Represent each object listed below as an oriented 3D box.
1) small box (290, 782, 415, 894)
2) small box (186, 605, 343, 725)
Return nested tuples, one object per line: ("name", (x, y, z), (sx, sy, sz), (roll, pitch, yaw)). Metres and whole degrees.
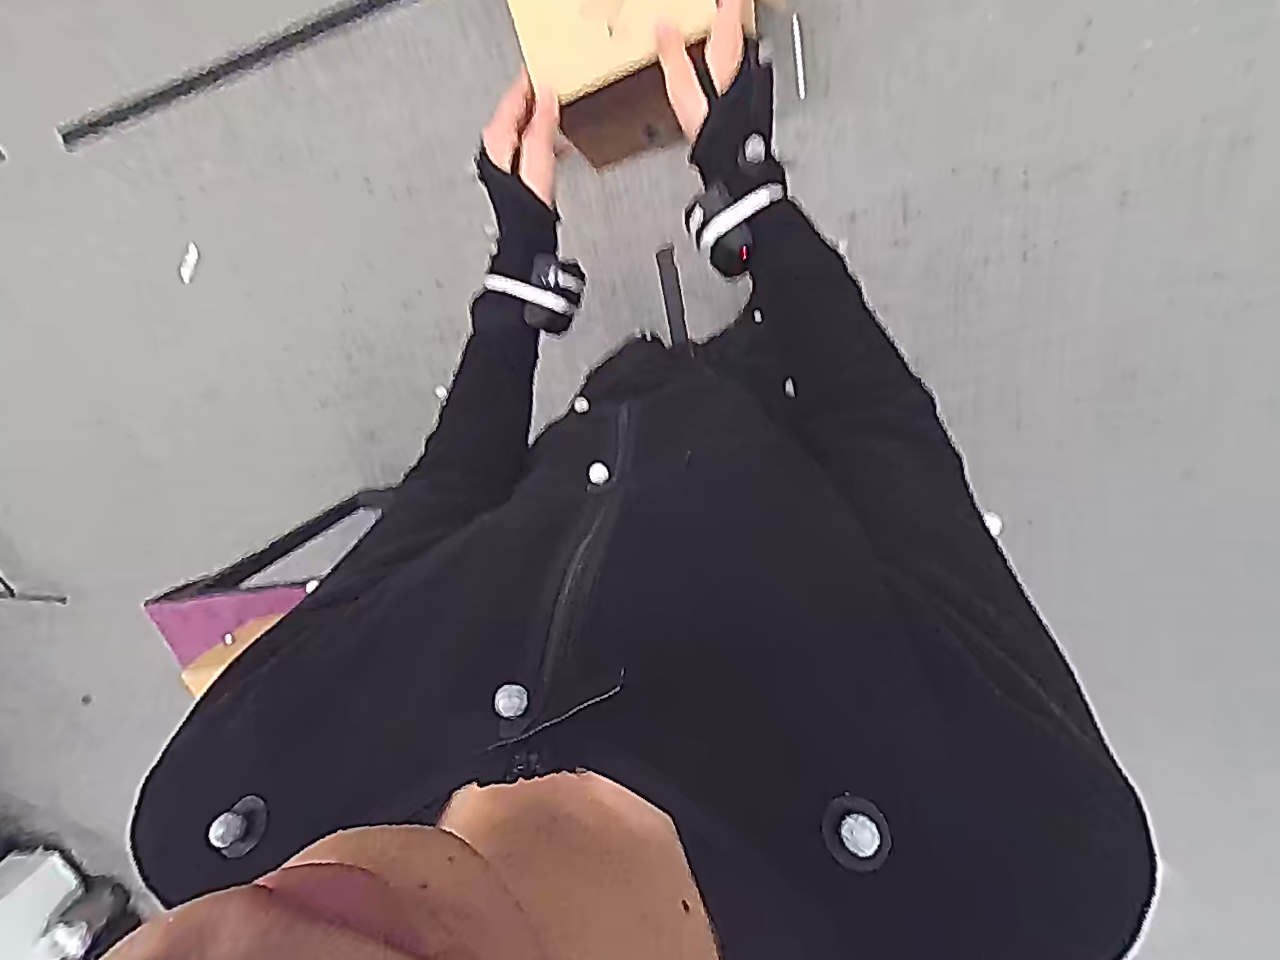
("small box", (-0.692, 0.870, 1.322), (0.179, 0.176, 0.168), (-12, 110, 15))
("small box", (-0.775, 0.385, 1.136), (0.179, 0.176, 0.168), (-12, 111, 16))
